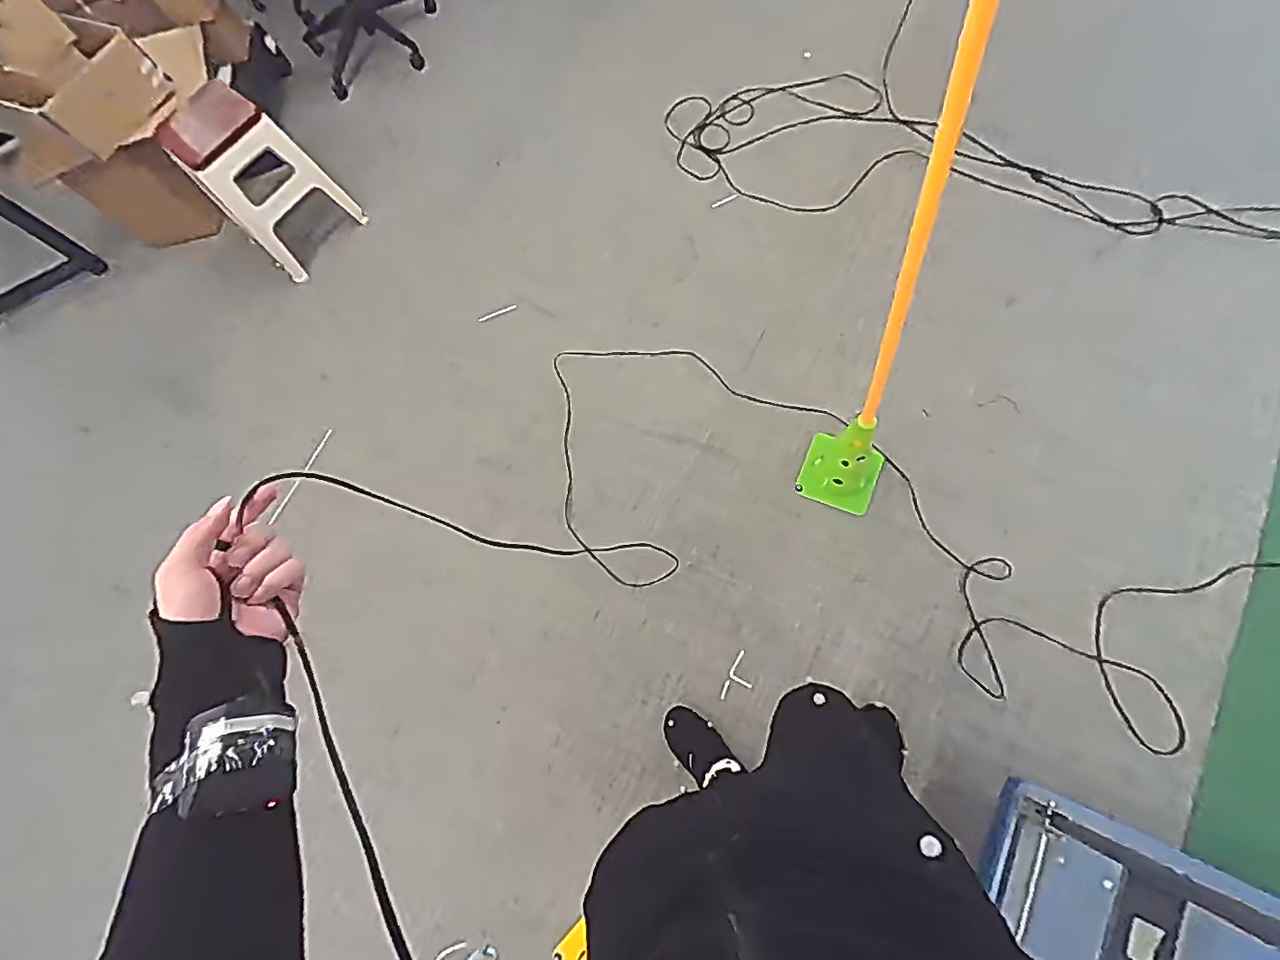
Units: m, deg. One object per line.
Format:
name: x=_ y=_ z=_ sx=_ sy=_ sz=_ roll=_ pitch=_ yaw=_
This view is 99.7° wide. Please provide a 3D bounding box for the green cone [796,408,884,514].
green cone: x=0.533 y=-0.077 z=1.353 sx=0.200 sy=0.368 sz=0.202 roll=20 pitch=75 yaw=15
